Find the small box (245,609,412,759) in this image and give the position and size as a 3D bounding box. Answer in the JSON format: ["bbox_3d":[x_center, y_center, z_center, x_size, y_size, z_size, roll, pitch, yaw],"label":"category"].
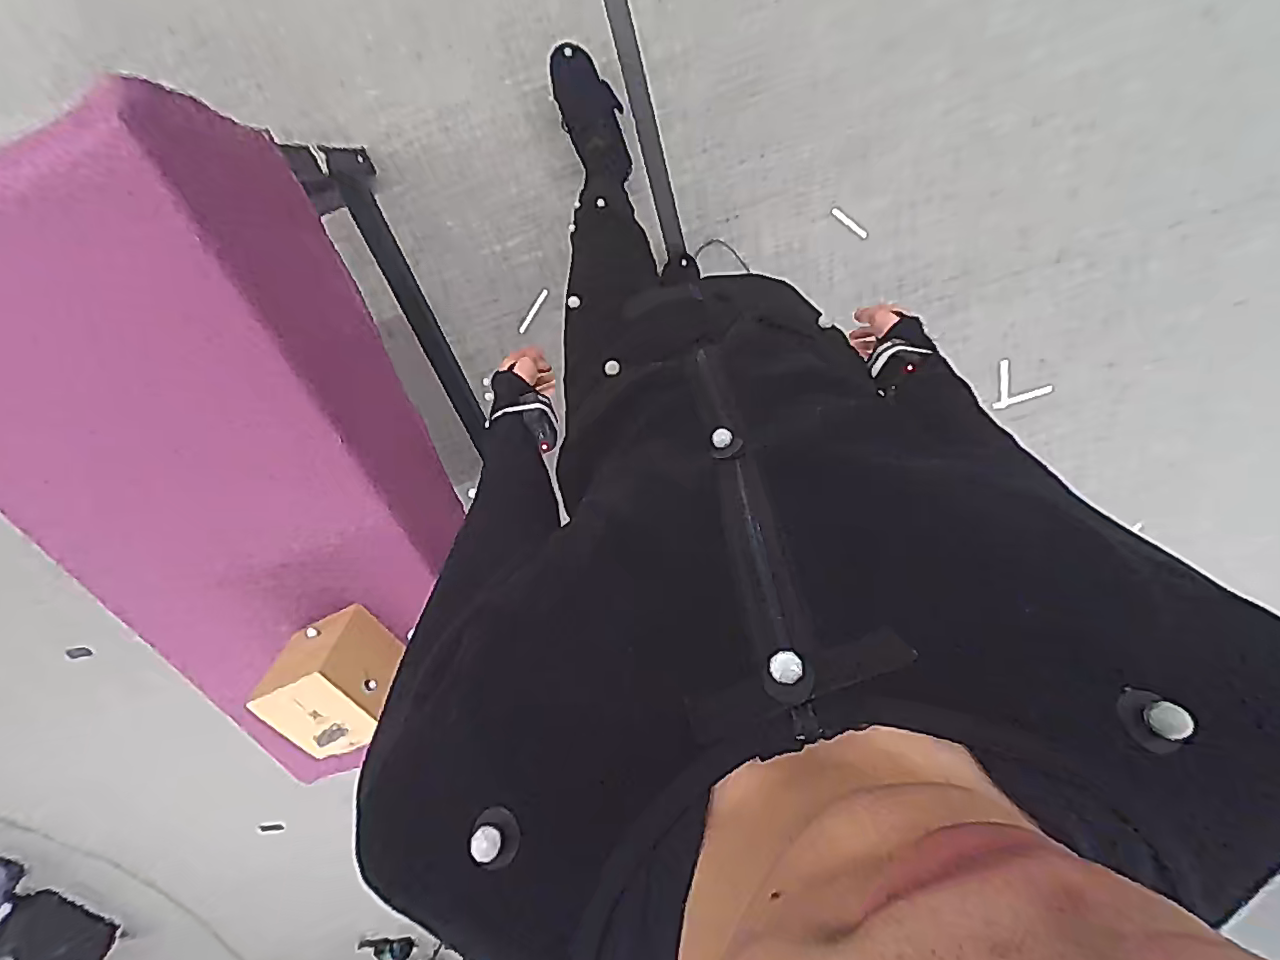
[{"bbox_3d":[-0.562,0.375,1.007,0.168,0.176,0.179,-26,117,12],"label":"small box"}]
